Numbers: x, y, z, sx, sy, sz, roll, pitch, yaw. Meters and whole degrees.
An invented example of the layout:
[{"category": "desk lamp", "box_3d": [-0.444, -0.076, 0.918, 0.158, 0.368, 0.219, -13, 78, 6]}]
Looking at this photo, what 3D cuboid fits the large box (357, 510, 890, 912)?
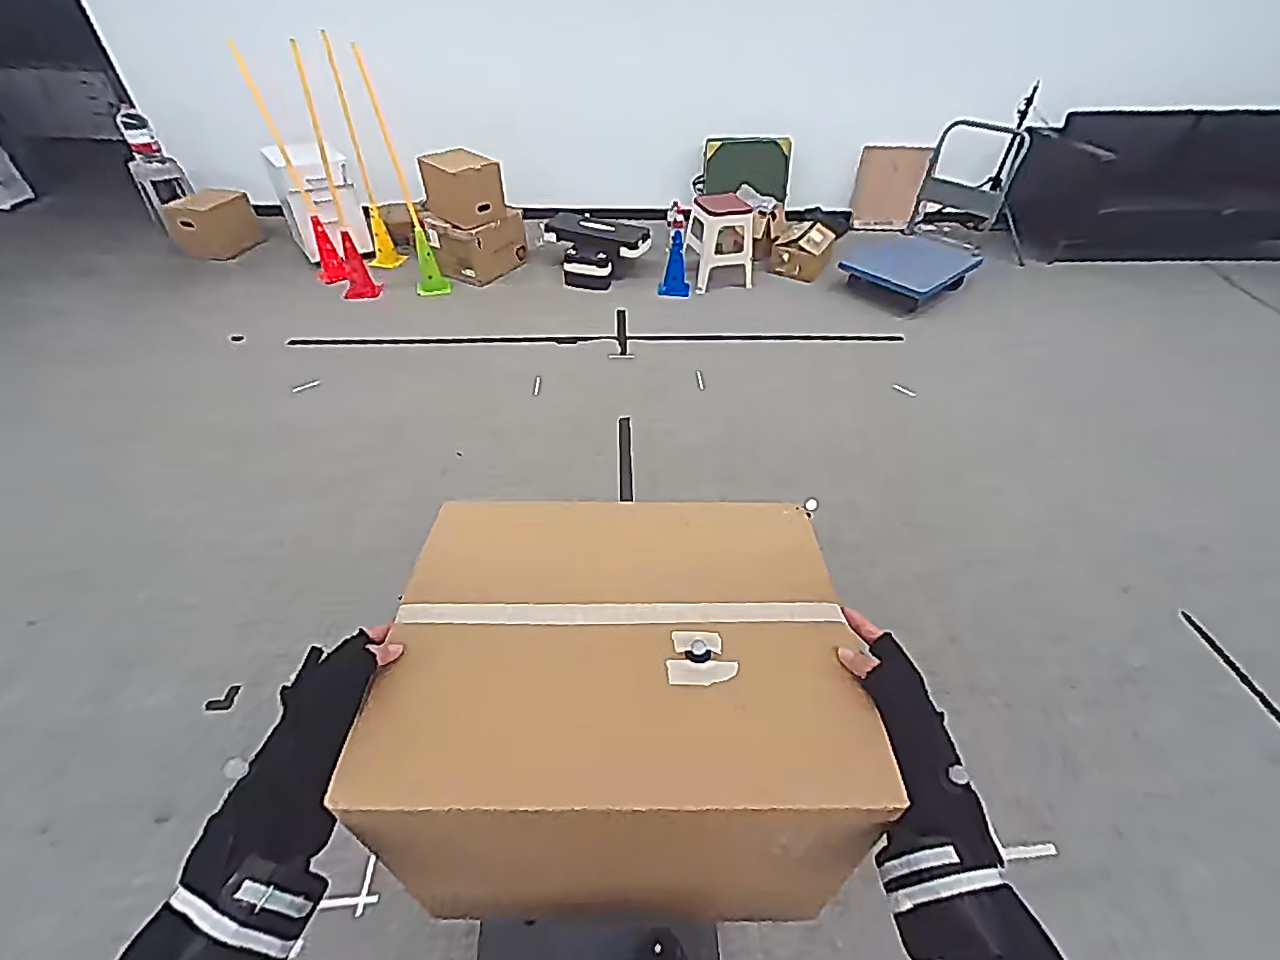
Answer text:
[{"category": "large box", "box_3d": [-0.015, 0.247, 0.603, 0.408, 0.320, 0.320, 0, 40, 0]}]
